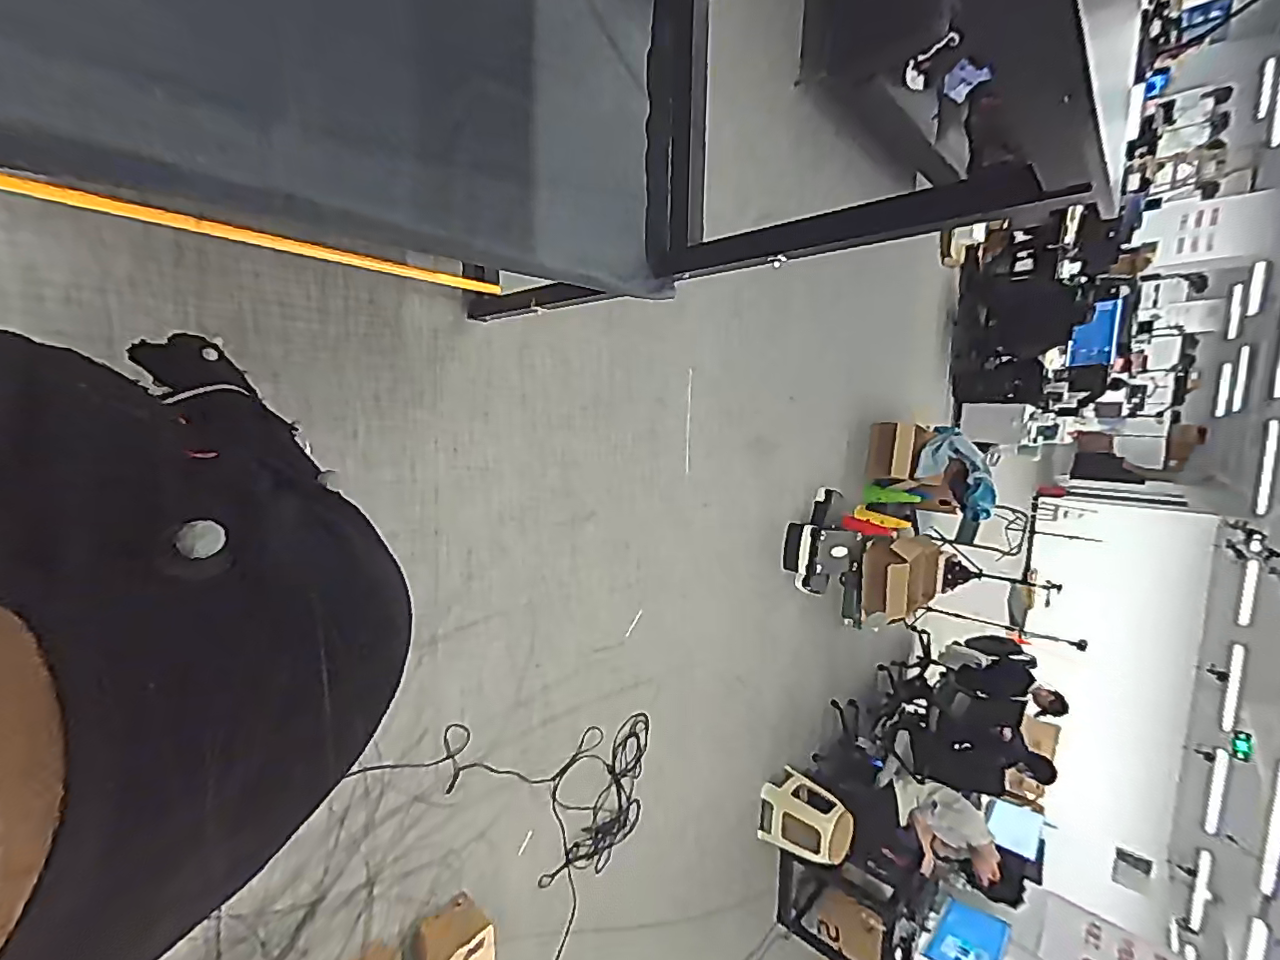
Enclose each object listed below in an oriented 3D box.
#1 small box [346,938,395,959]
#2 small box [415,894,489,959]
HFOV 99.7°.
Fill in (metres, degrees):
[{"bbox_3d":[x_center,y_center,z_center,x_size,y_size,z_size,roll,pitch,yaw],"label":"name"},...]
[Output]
[{"bbox_3d":[-0.771,1.469,1.527,0.168,0.176,0.179,-13,105,-47],"label":"small box"},{"bbox_3d":[-0.599,1.471,1.716,0.168,0.176,0.179,-9,103,-47],"label":"small box"}]
